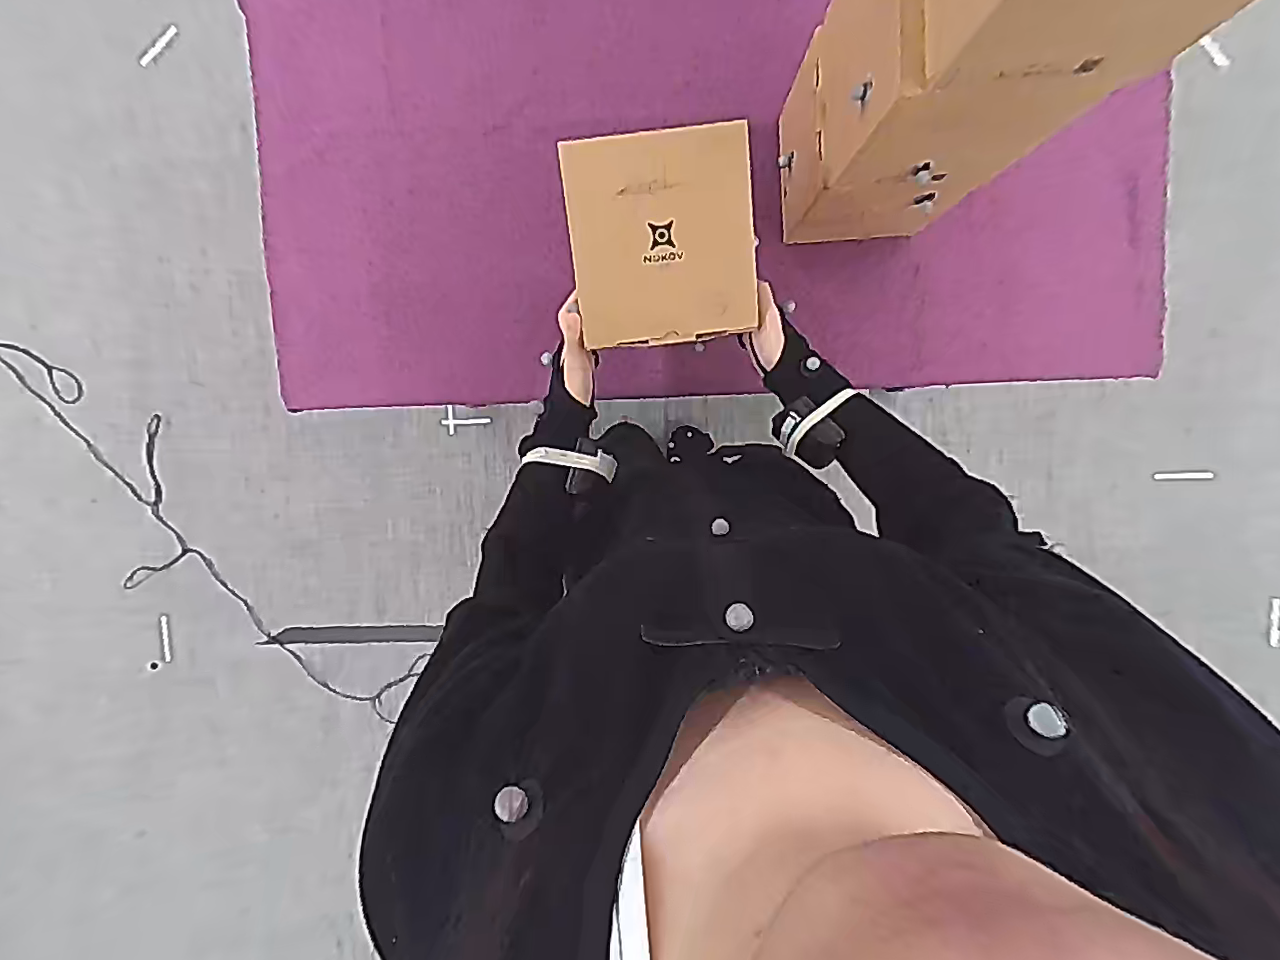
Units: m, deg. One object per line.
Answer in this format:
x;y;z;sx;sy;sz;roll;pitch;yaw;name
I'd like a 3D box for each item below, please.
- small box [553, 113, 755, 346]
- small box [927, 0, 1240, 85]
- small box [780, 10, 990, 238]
0.014;-0.237;0.555;0.168;0.176;0.179;-8;103;0;small box
0.286;-0.374;0.310;0.168;0.176;0.179;-3;95;2;small box
0.274;-0.401;0.637;0.179;0.176;0.168;-3;94;2;small box
